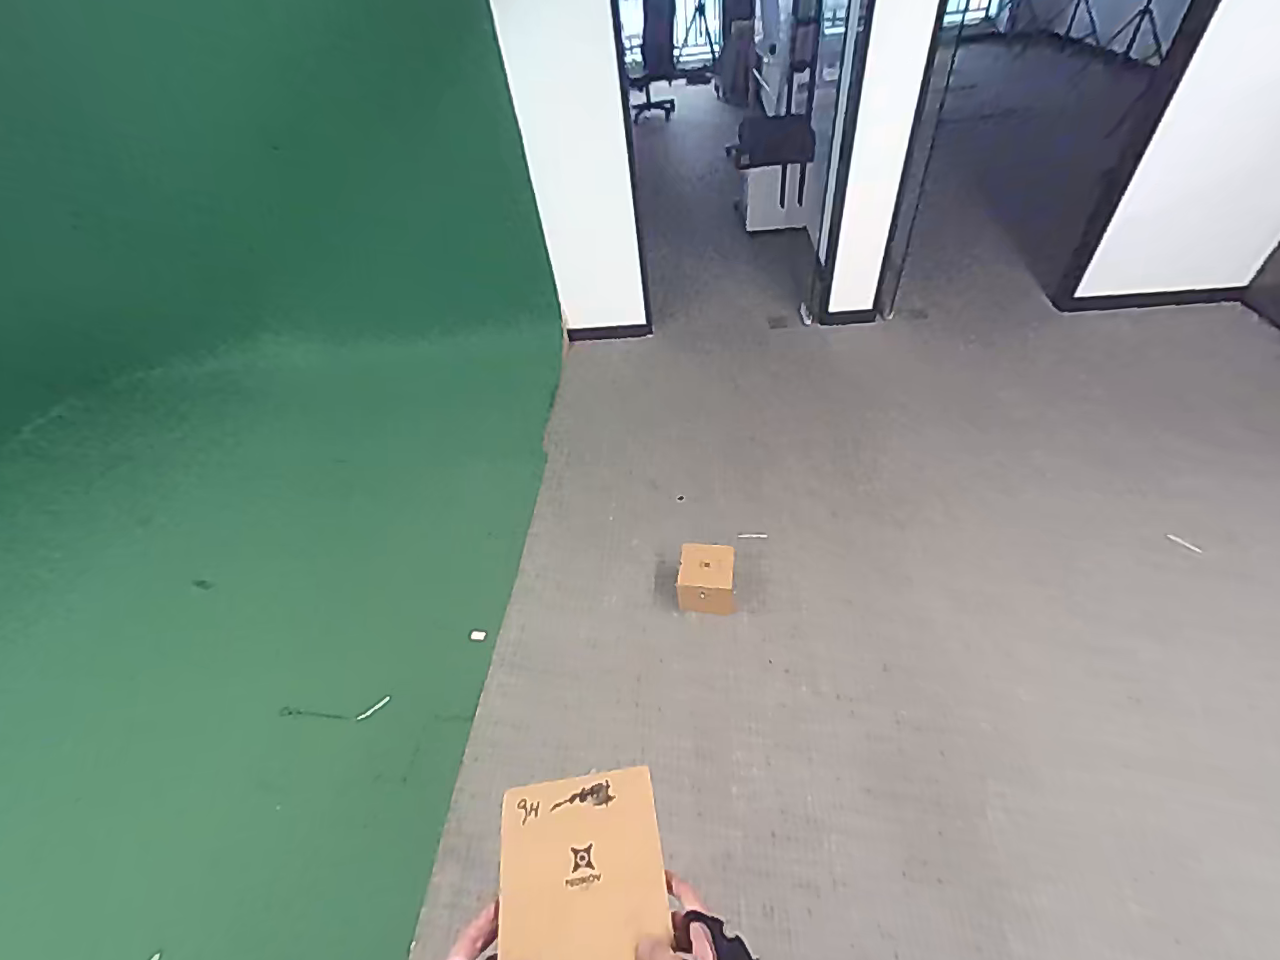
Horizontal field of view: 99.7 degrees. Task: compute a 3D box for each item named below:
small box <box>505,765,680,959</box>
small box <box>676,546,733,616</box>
[{"bbox_3d":[-0.048,0.448,0.603,0.168,0.176,0.179,-6,45,-4],"label":"small box"},{"bbox_3d":[0.220,0.340,1.812,0.179,0.176,0.168,3,48,11],"label":"small box"}]
